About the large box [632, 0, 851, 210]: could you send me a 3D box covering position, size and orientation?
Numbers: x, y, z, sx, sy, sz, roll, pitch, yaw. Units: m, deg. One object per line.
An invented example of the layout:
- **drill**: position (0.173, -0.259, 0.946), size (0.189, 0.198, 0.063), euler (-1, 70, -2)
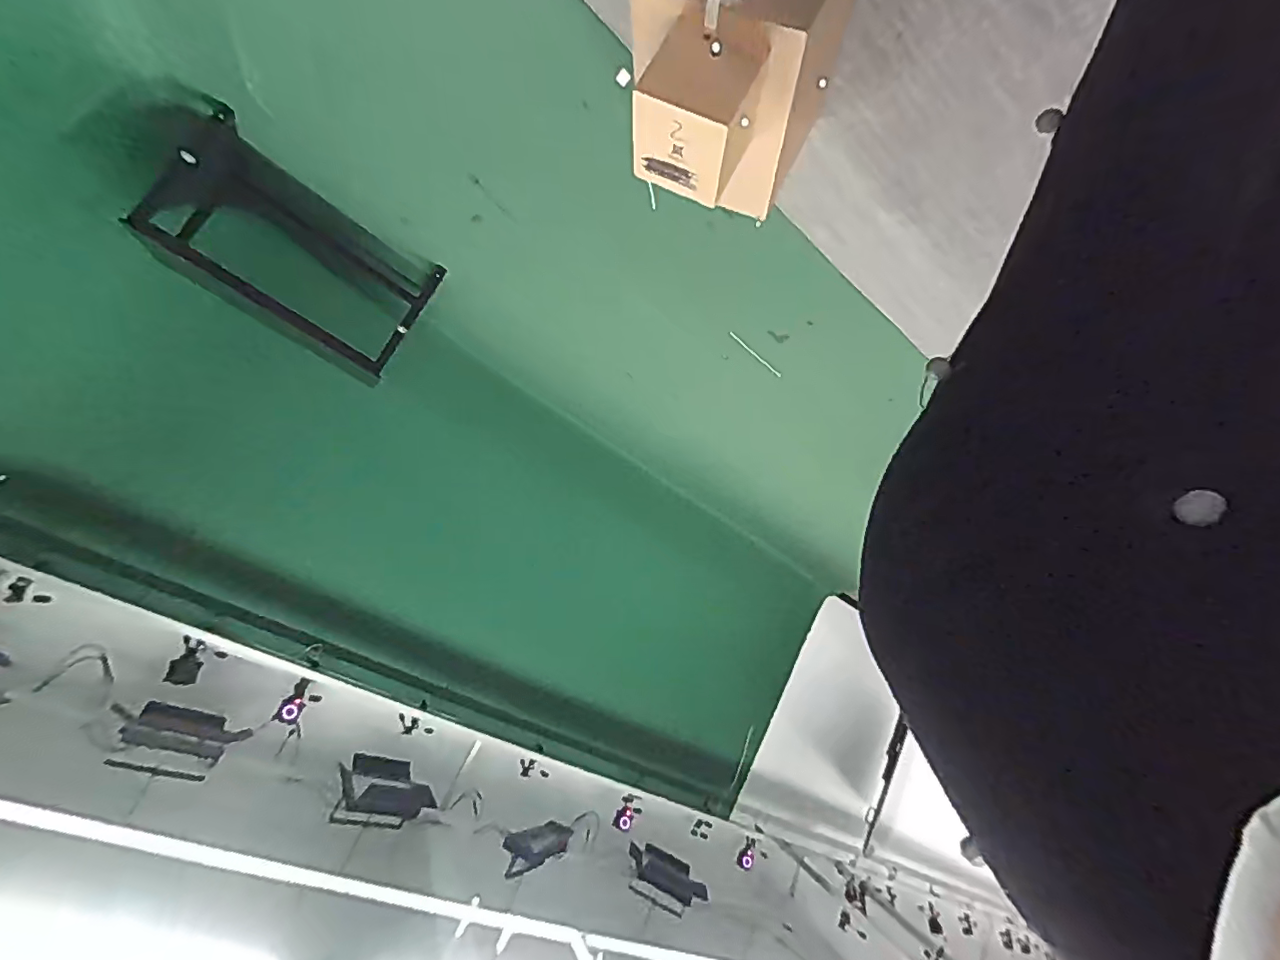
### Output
- **large box**: position (0.202, -0.834, 1.050), size (0.320, 0.320, 0.408), euler (26, 170, 10)
